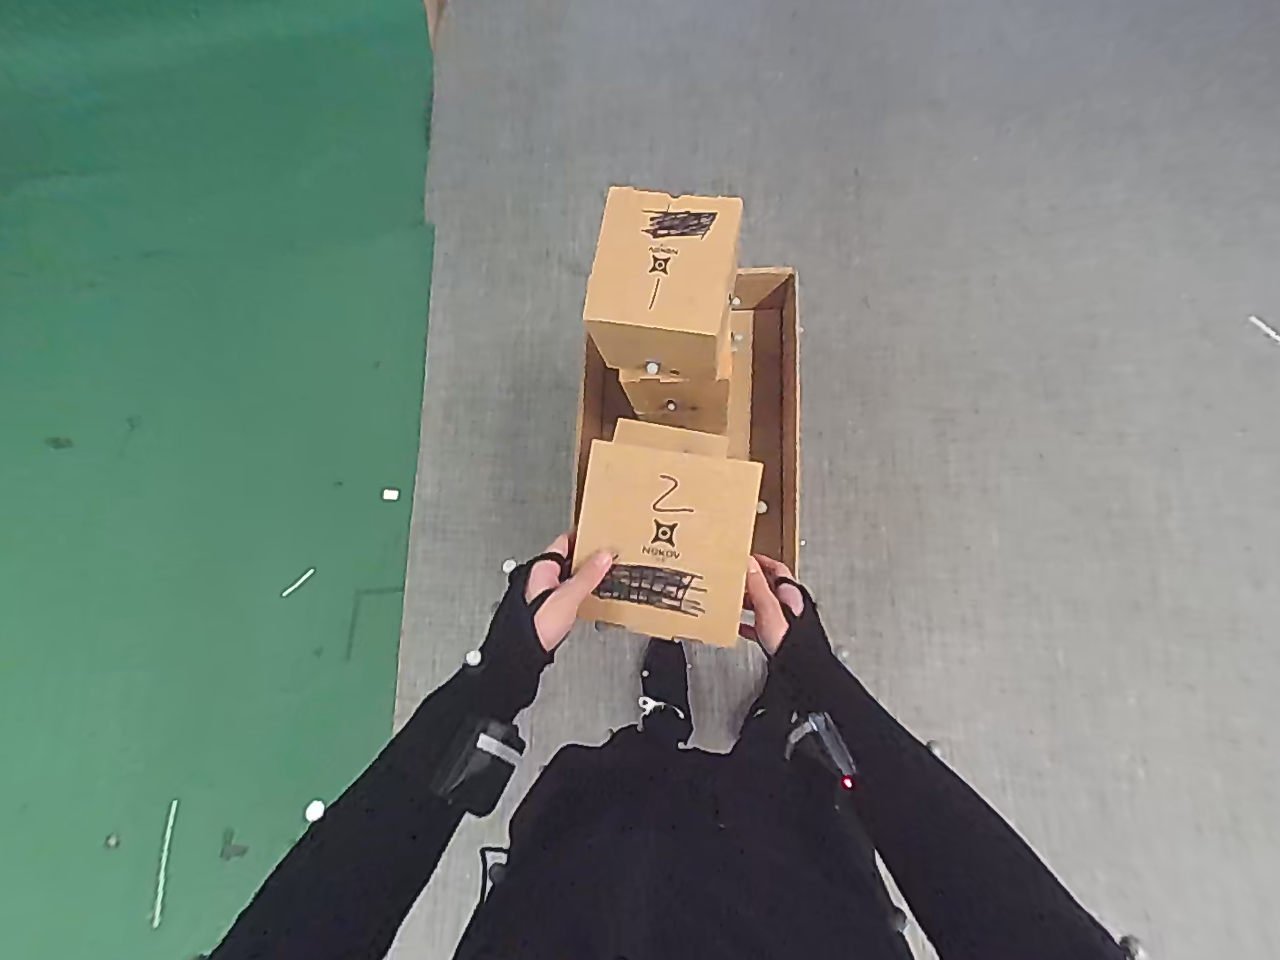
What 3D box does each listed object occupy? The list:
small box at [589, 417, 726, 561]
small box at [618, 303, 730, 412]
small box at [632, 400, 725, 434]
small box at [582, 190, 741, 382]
[{"bbox_3d":[0.035,0.023,0.839,0.168,0.176,0.179,12,80,9],"label":"small box"},{"bbox_3d":[0.059,-0.219,0.885,0.168,0.176,0.179,1,82,7],"label":"small box"},{"bbox_3d":[0.080,-0.196,1.044,0.168,0.176,0.179,1,81,8],"label":"small box"},{"bbox_3d":[0.034,-0.249,0.725,0.168,0.176,0.179,10,83,8],"label":"small box"}]
